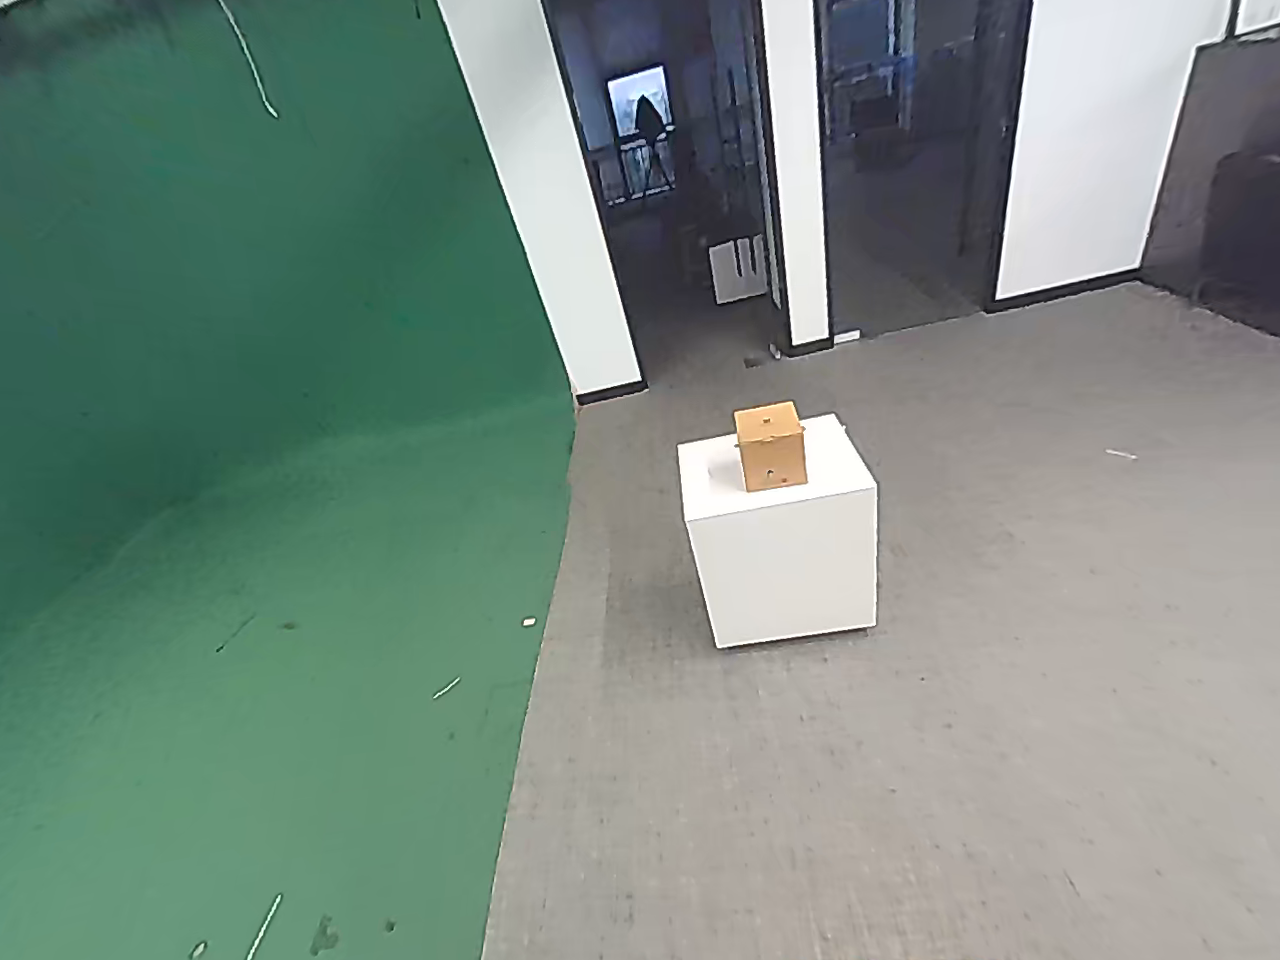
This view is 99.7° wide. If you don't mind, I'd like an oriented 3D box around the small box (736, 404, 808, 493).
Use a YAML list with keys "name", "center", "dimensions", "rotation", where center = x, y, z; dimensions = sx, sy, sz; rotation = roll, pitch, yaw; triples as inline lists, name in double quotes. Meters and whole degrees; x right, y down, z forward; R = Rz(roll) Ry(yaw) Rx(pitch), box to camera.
- name: "small box"
  center: [0.365, -0.087, 1.502]
  dimensions: [0.168, 0.176, 0.179]
  rotation: [-10, 33, 10]
